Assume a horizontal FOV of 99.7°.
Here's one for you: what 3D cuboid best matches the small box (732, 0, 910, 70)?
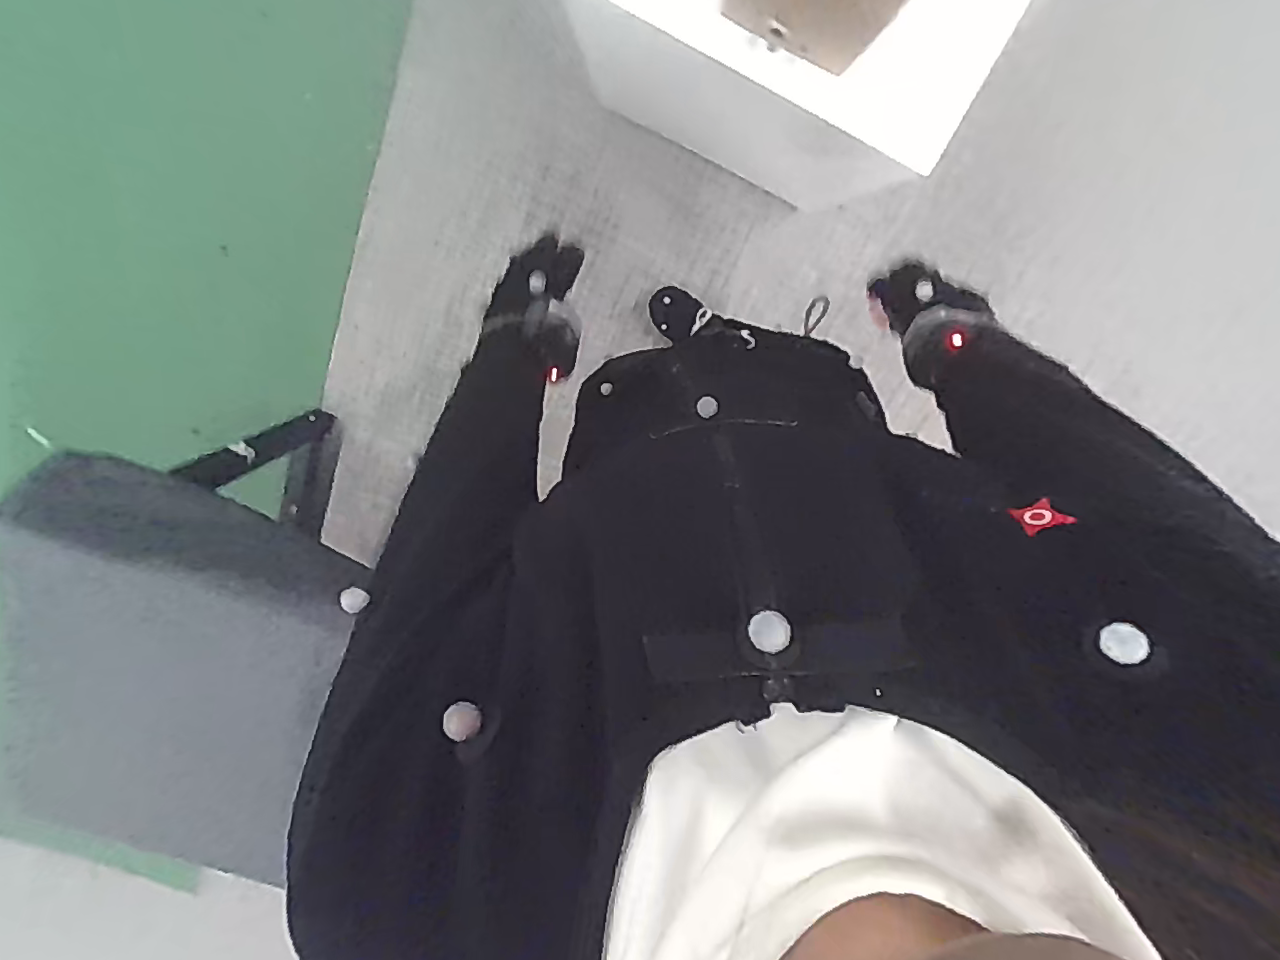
[{"bbox_3d":[0.199,-0.550,0.523,0.168,0.176,0.179,22,112,-5],"label":"small box"}]
